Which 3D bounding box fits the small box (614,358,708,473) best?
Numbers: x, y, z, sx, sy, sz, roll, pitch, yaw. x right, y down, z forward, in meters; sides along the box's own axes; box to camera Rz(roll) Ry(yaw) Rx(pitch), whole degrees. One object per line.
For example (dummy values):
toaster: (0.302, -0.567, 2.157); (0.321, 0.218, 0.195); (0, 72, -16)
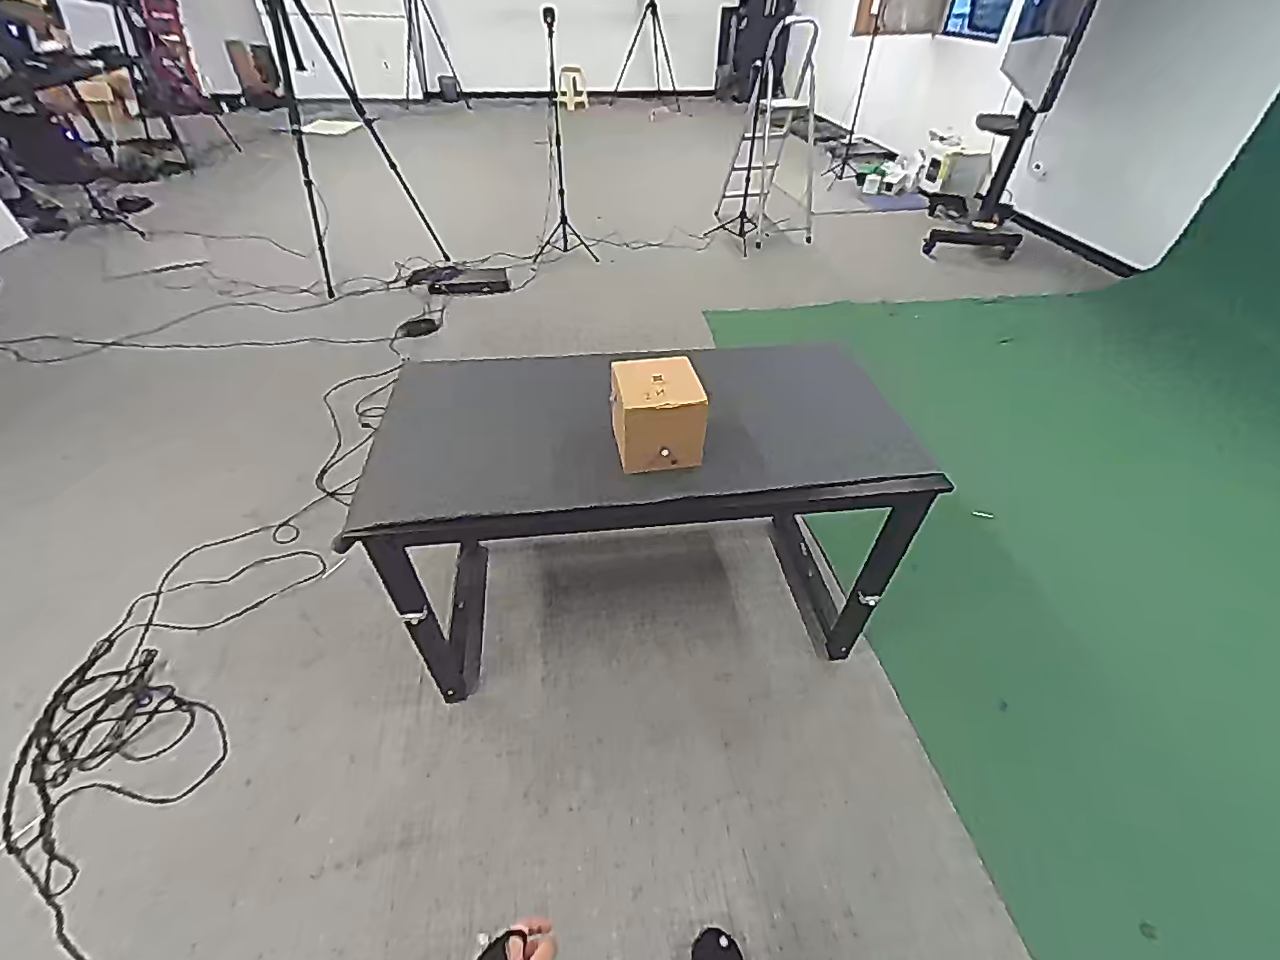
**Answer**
small box: (0.035, -0.137, 1.138); (0.168, 0.176, 0.179); (-7, 43, -8)
